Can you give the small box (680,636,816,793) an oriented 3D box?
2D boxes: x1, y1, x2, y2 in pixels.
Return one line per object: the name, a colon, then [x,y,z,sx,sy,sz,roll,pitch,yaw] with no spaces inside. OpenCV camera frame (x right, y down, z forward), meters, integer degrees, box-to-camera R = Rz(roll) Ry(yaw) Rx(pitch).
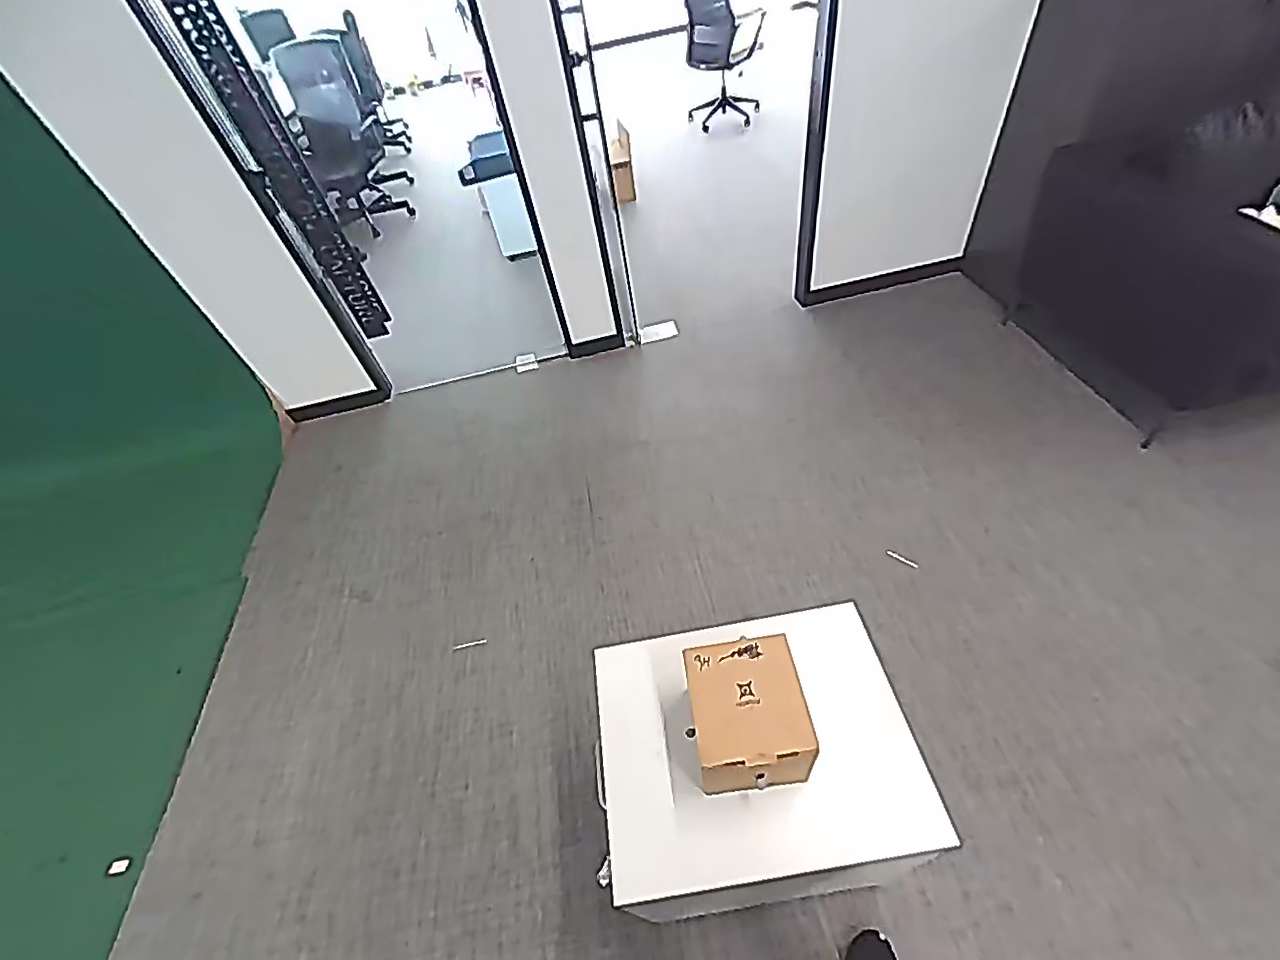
small box: [0.164,0.375,0.853,0.168,0.176,0.179,-11,47,1]
